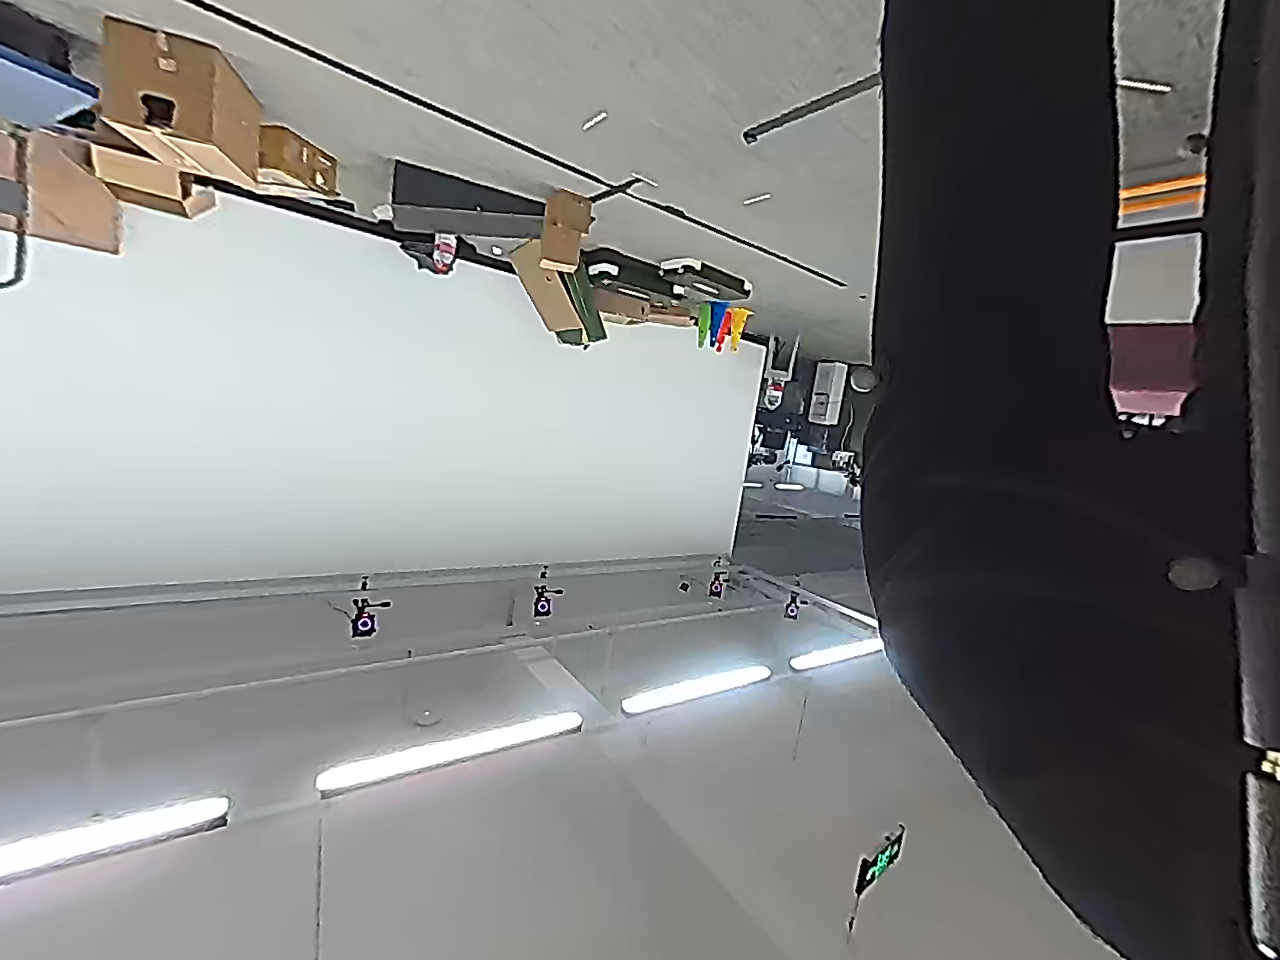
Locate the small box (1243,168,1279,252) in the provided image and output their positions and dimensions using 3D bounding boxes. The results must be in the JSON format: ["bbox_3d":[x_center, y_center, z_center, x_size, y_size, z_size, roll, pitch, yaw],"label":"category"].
[{"bbox_3d":[1.752,-0.723,1.424,0.168,0.176,0.179,3,-171,-35],"label":"small box"}]
